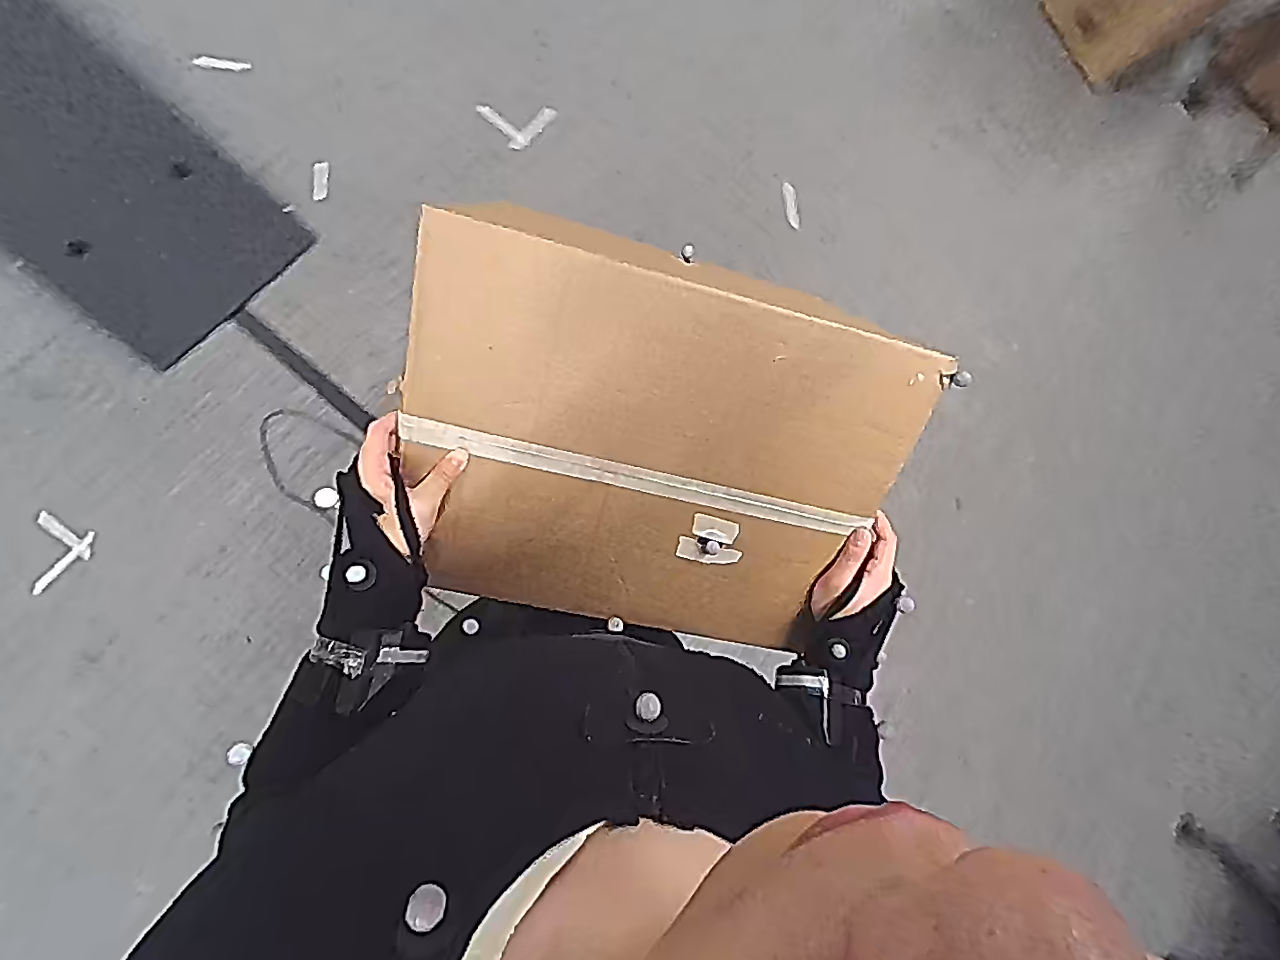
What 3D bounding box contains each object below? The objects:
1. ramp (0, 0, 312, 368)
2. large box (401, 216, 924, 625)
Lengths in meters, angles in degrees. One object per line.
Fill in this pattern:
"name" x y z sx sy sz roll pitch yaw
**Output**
"ramp" -1.332 -0.768 1.215 0.991 0.206 0.509 39 76 -4
"large box" -0.009 -0.080 0.596 0.408 0.320 0.320 10 117 -11
